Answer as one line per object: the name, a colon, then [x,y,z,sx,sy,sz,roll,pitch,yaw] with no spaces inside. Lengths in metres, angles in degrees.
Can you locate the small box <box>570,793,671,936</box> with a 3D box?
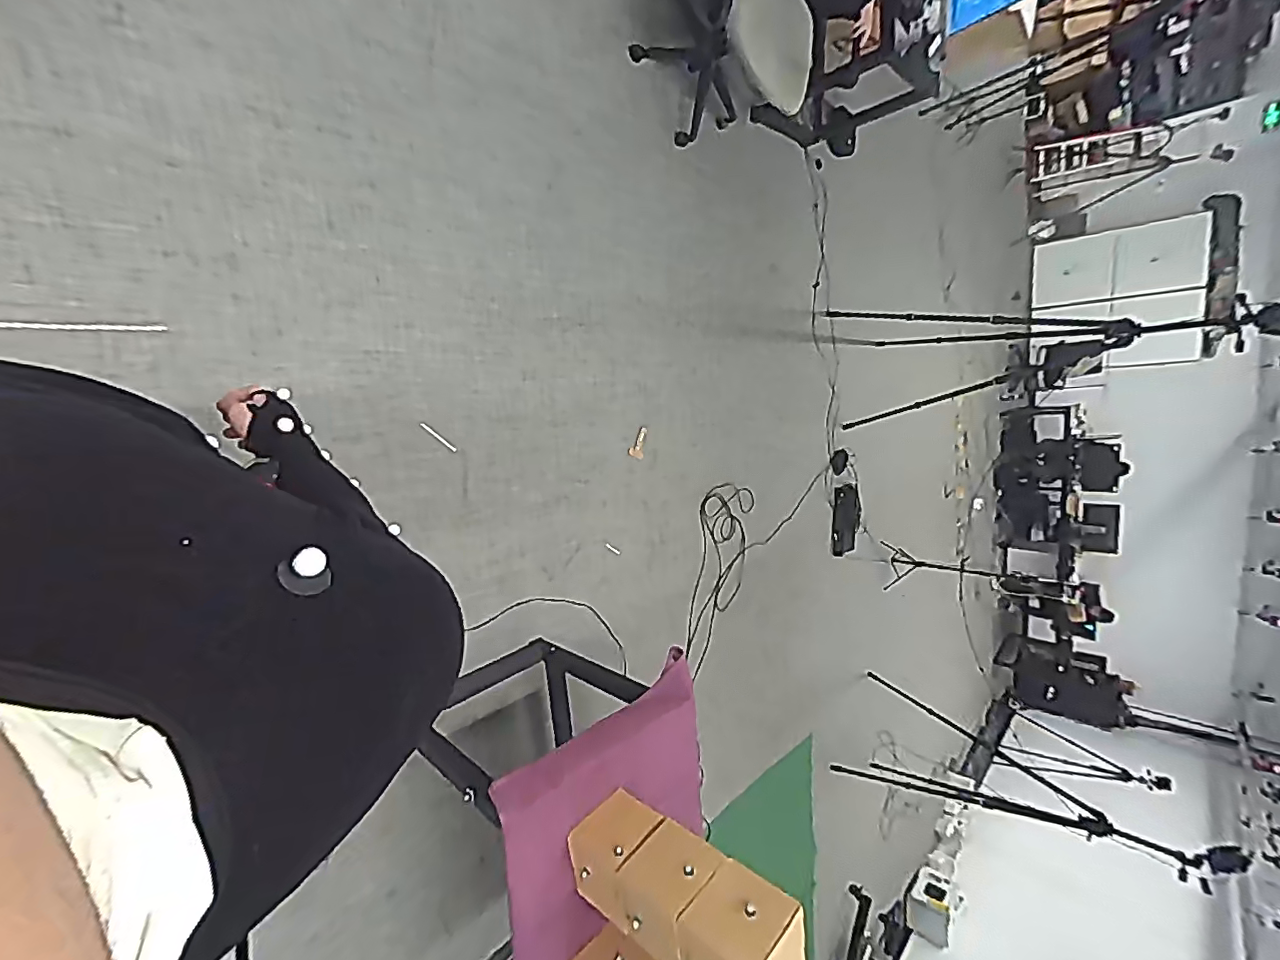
small box: [-0.036,0.875,1.253,0.179,0.176,0.168,-20,107,-42]

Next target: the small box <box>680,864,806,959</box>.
small box: [0.198,0.887,1.023,0.179,0.176,0.168,-18,106,-44]

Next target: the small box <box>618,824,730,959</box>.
small box: [0.079,0.878,1.136,0.179,0.176,0.168,-21,108,-42]
